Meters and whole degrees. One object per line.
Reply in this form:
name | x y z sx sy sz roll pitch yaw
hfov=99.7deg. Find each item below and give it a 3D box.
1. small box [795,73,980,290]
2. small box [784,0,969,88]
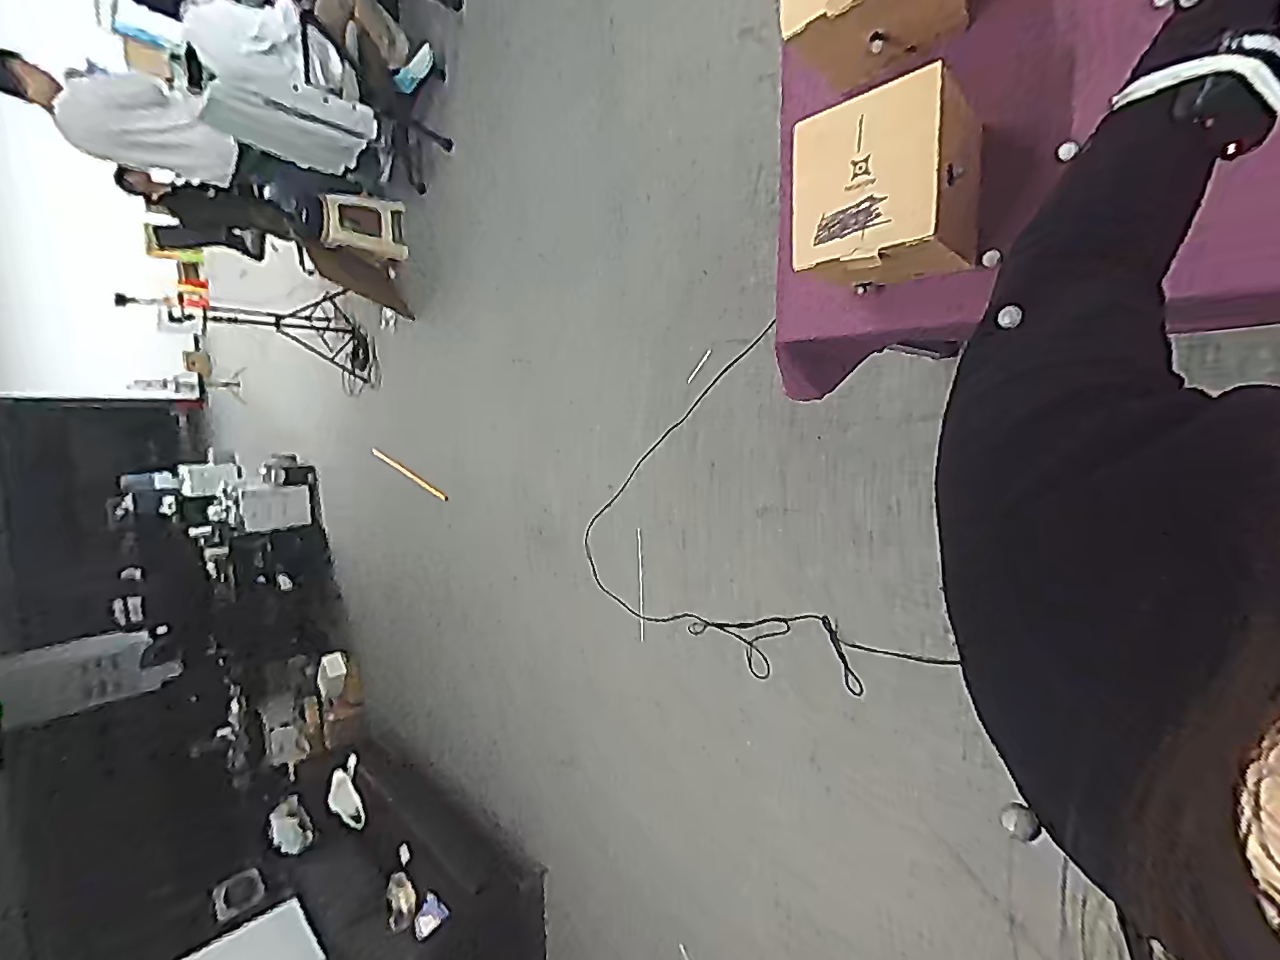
small box | 0.311 -0.347 0.678 0.168 0.176 0.179 5 97 44
small box | 0.292 -0.626 0.664 0.168 0.176 0.179 1 96 44
